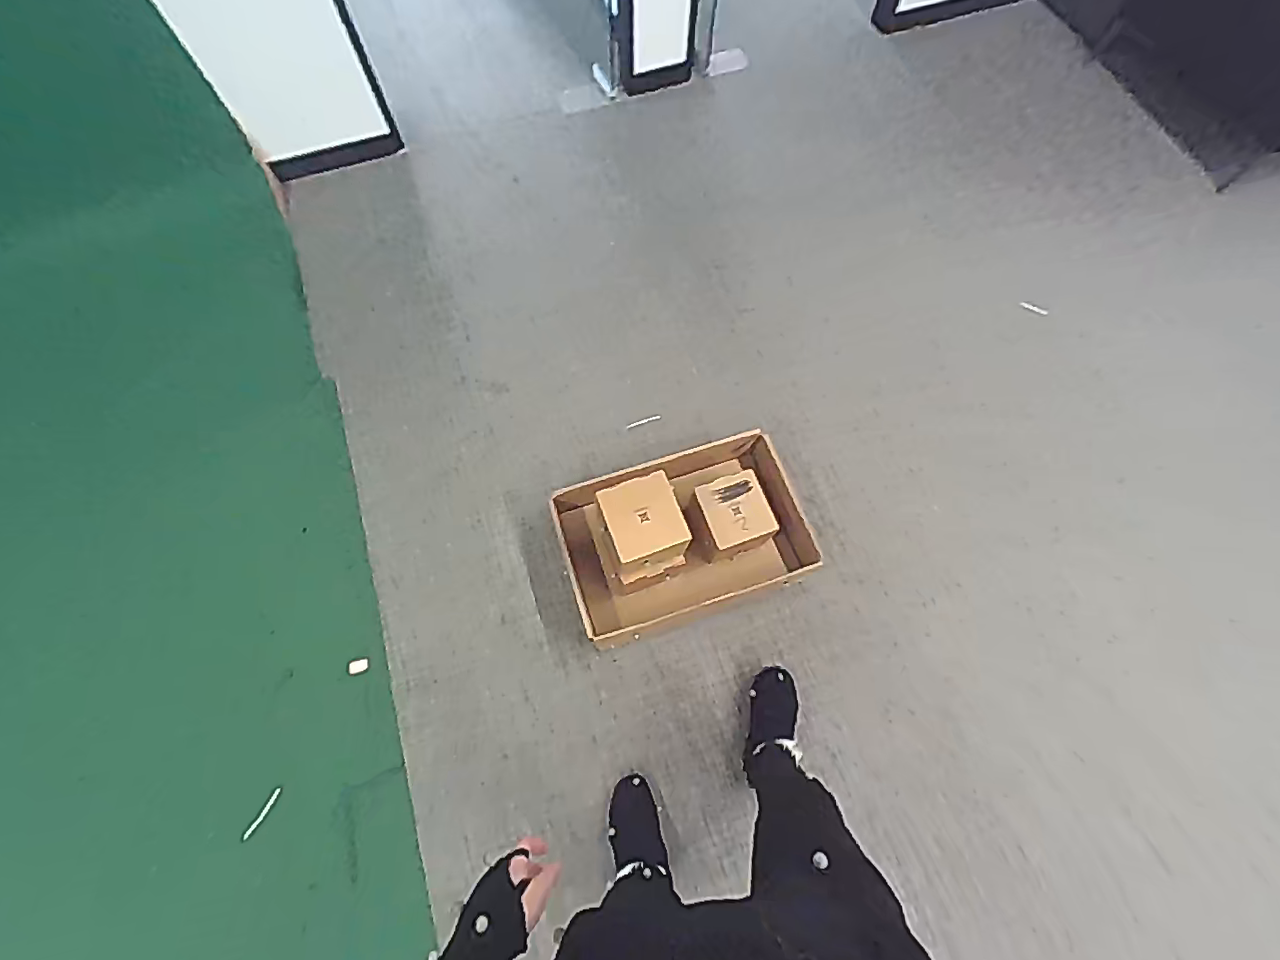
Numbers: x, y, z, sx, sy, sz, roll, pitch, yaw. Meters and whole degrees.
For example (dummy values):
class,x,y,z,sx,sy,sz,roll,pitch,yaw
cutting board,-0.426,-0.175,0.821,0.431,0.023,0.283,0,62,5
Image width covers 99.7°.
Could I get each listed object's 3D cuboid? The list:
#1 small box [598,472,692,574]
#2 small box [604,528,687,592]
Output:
class,x,y,z,sx,sy,sz,roll,pitch,yaw
small box,0.008,0.109,1.259,0.168,0.176,0.179,-19,69,-10
small box,0.011,0.182,1.404,0.168,0.176,0.179,-18,69,-9
